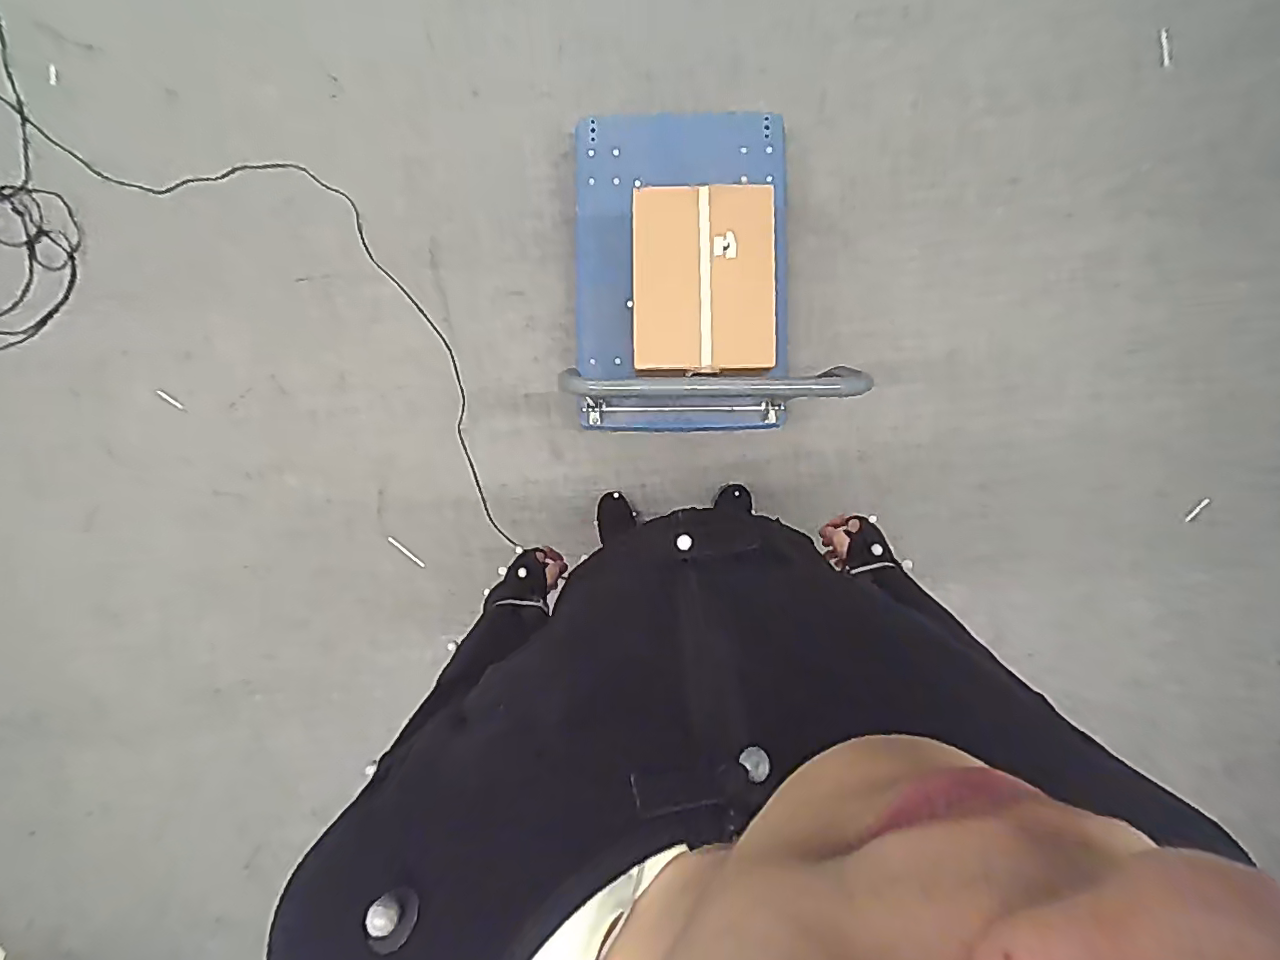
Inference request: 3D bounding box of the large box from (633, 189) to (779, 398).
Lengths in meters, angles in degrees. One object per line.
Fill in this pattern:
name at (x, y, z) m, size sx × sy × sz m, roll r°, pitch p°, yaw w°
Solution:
large box at (0.145, -0.428, 1.324) m, size 0.320 × 0.320 × 0.408 m, roll -1°, pitch 88°, yaw 0°
